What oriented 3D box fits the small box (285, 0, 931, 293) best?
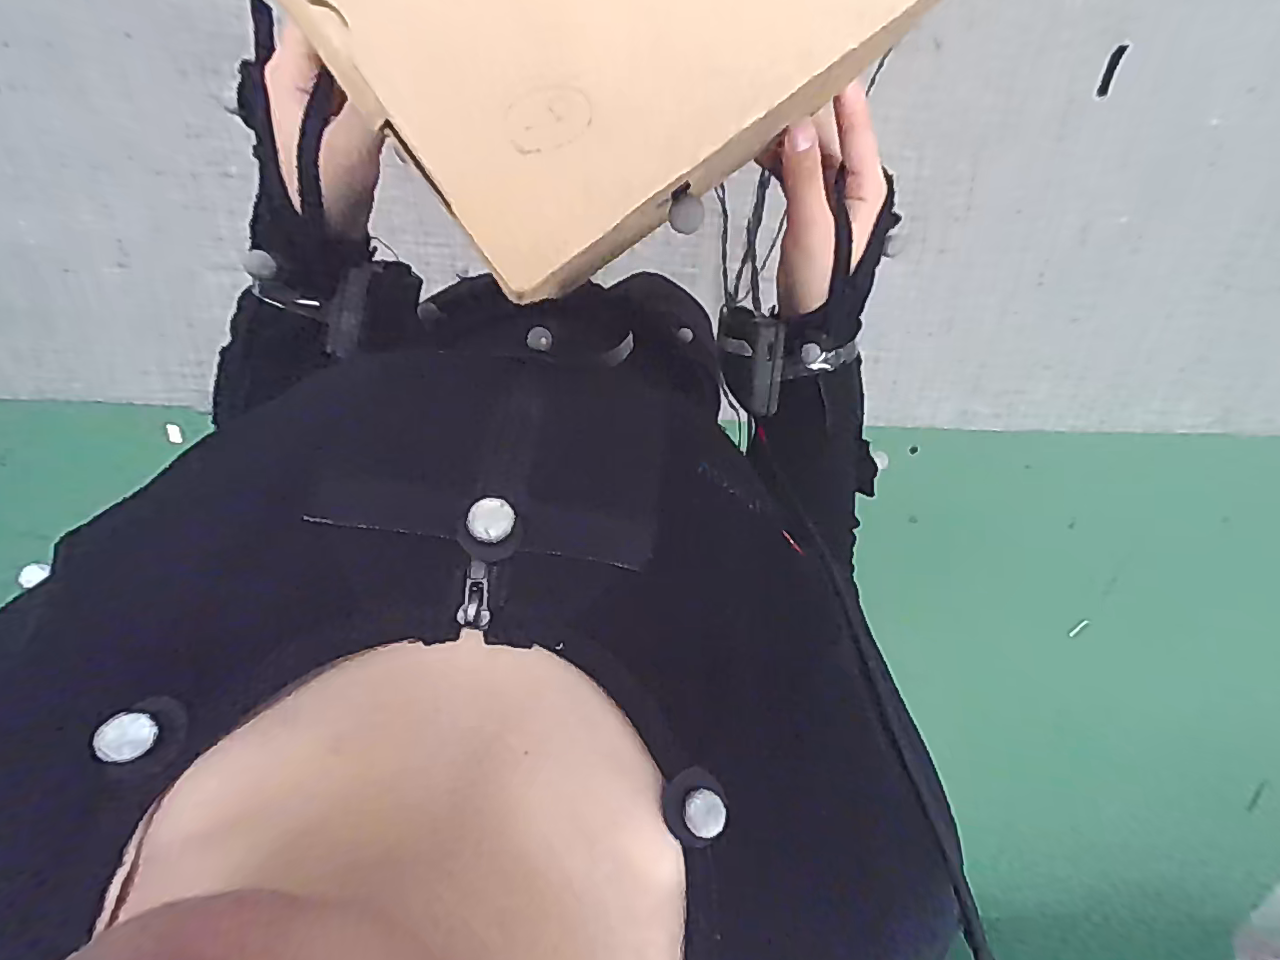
[{"bbox_3d":[-0.019,-0.191,0.213,0.179,0.176,0.168,-33,107,9],"label":"small box"}]
